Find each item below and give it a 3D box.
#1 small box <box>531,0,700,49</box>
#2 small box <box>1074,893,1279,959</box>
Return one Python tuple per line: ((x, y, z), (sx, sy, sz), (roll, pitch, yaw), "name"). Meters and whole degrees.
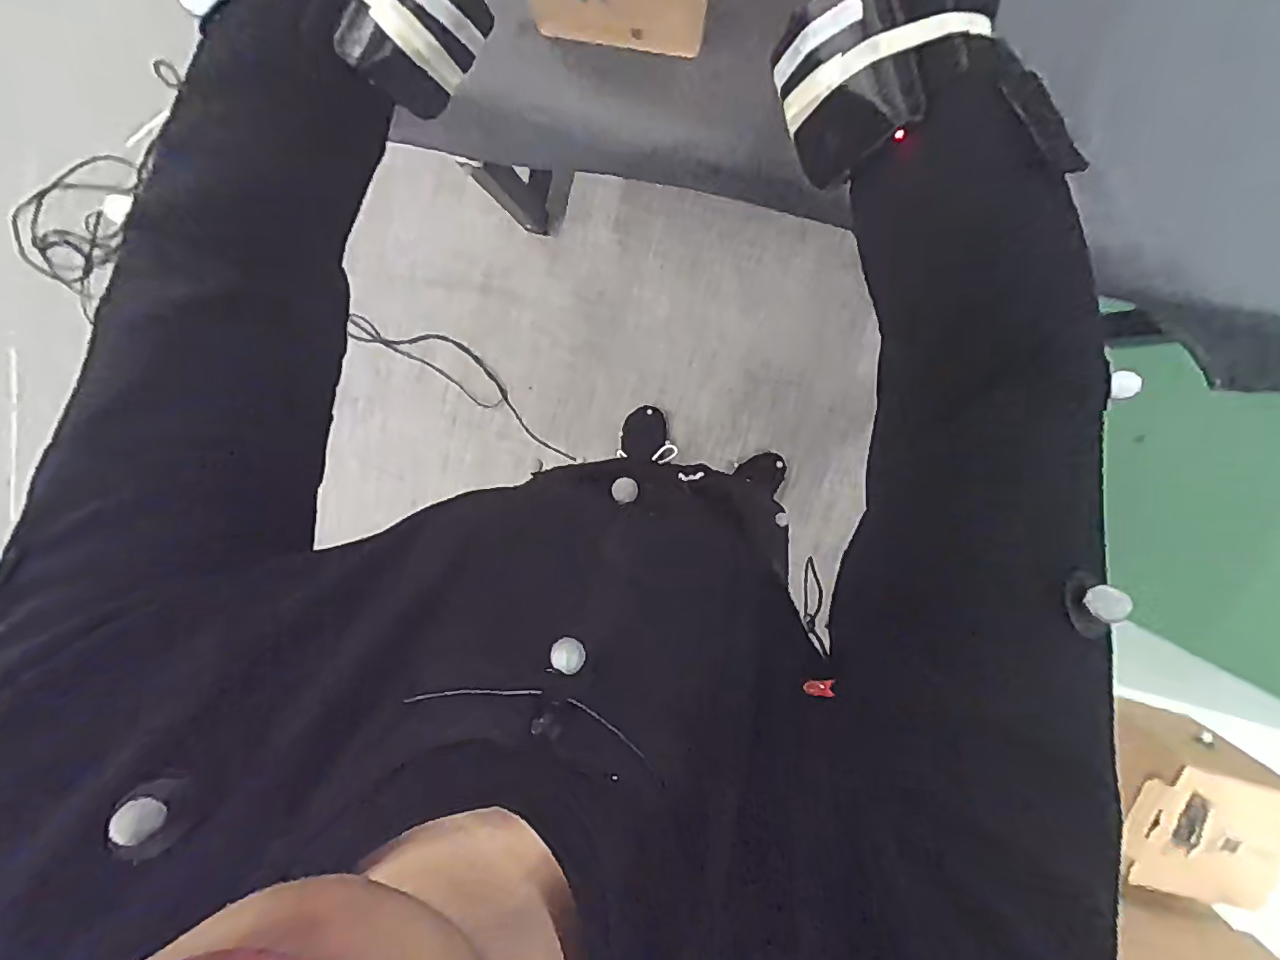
((-0.019, -0.517, 0.461), (0.168, 0.176, 0.179), (10, 100, 1), "small box")
((0.626, 0.605, 0.596), (0.179, 0.176, 0.168), (11, 100, 1), "small box")
